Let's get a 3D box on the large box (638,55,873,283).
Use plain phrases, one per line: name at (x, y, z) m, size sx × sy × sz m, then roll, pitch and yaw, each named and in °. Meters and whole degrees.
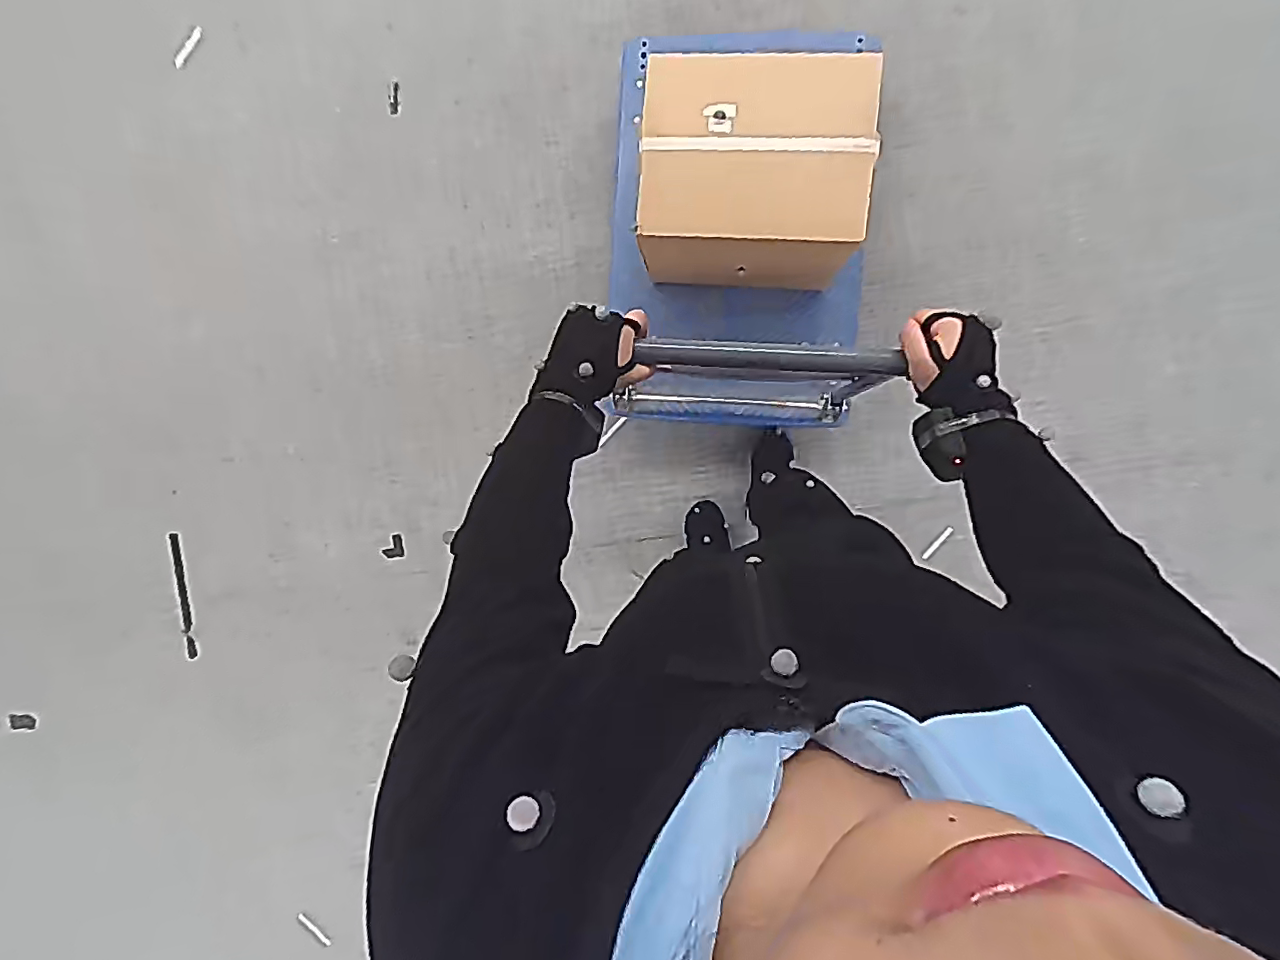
large box at (0.223, -0.606, 1.116) m, size 0.408 × 0.320 × 0.320 m, roll 4°, pitch 94°, yaw 7°
